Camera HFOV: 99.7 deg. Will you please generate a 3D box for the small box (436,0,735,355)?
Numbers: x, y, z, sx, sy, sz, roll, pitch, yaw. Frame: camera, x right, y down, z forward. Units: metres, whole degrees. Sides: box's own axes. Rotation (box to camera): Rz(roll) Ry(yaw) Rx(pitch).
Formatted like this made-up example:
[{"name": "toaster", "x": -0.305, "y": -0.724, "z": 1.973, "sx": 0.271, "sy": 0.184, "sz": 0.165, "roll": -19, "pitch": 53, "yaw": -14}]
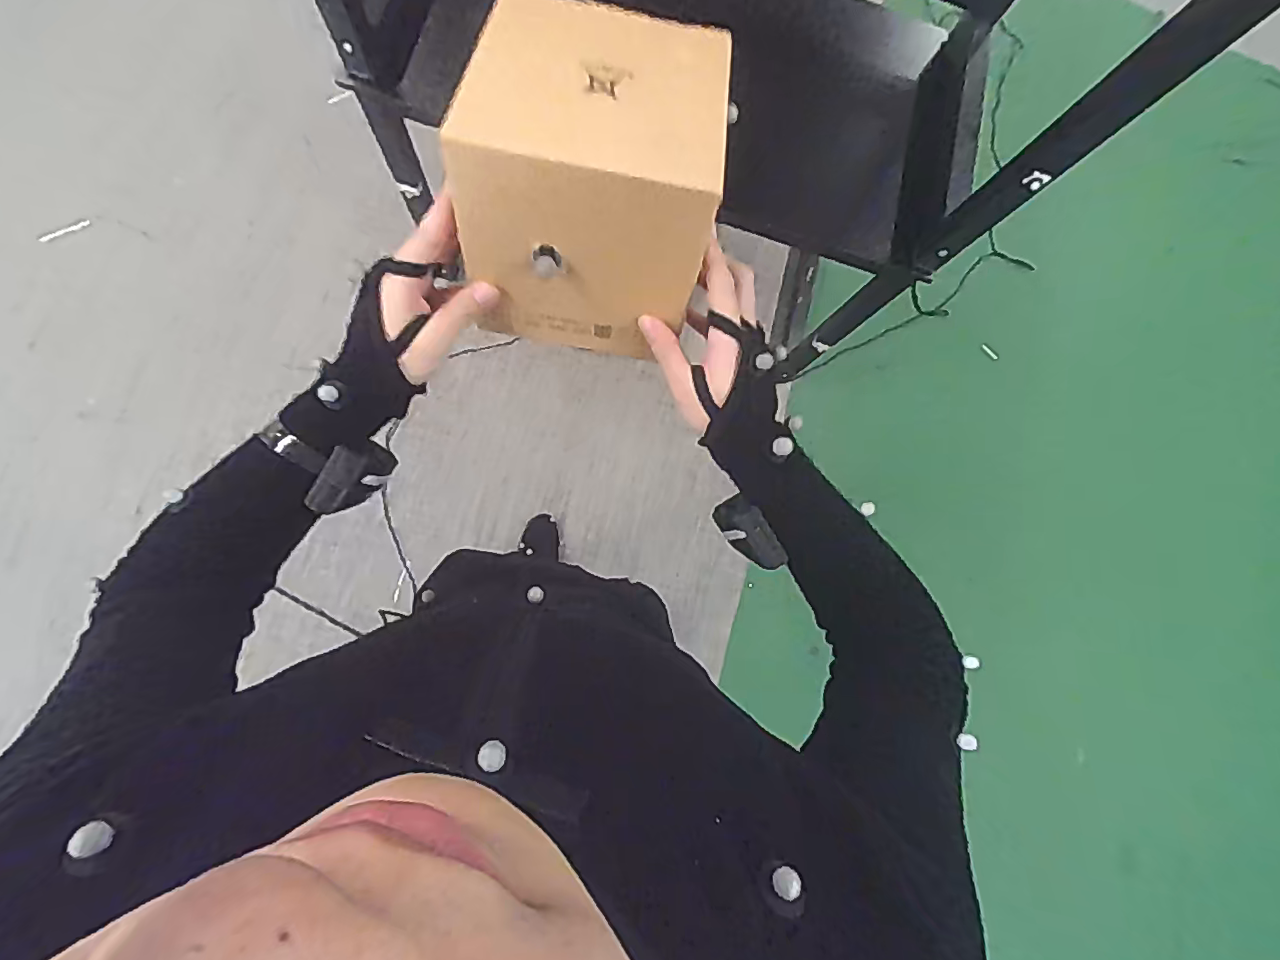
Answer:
[{"name": "small box", "x": -0.033, "y": -0.219, "z": 0.408, "sx": 0.168, "sy": 0.176, "sz": 0.179, "roll": 9, "pitch": 63, "yaw": -4}]
